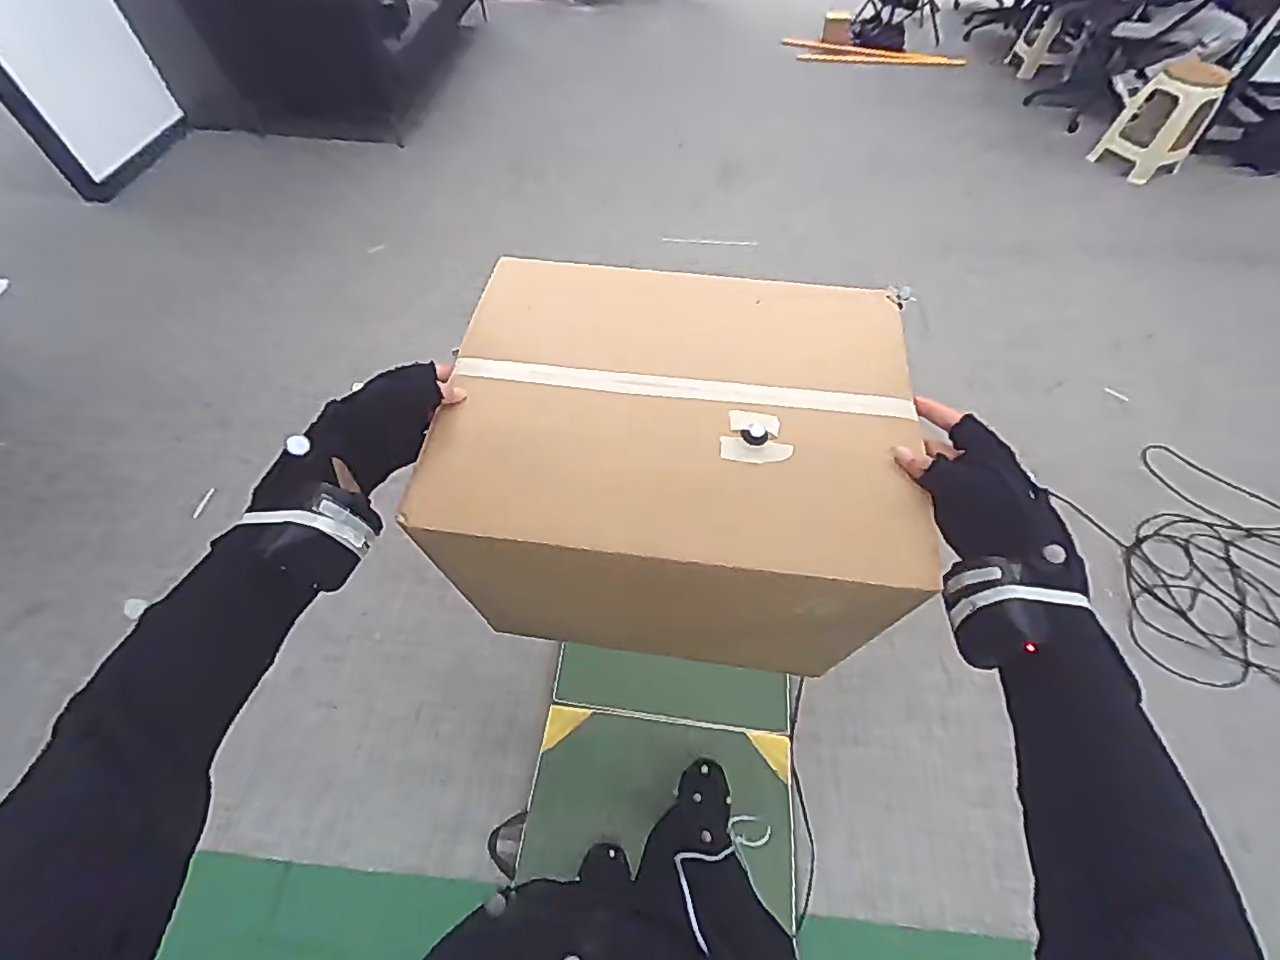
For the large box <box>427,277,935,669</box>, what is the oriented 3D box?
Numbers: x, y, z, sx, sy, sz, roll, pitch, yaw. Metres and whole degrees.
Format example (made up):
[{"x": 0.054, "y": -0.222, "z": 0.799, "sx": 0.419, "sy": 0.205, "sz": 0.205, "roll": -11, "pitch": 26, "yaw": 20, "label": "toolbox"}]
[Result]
[{"x": 0.040, "y": 0.007, "z": 0.618, "sx": 0.408, "sy": 0.320, "sz": 0.320, "roll": 7, "pitch": 60, "yaw": 3, "label": "large box"}]
